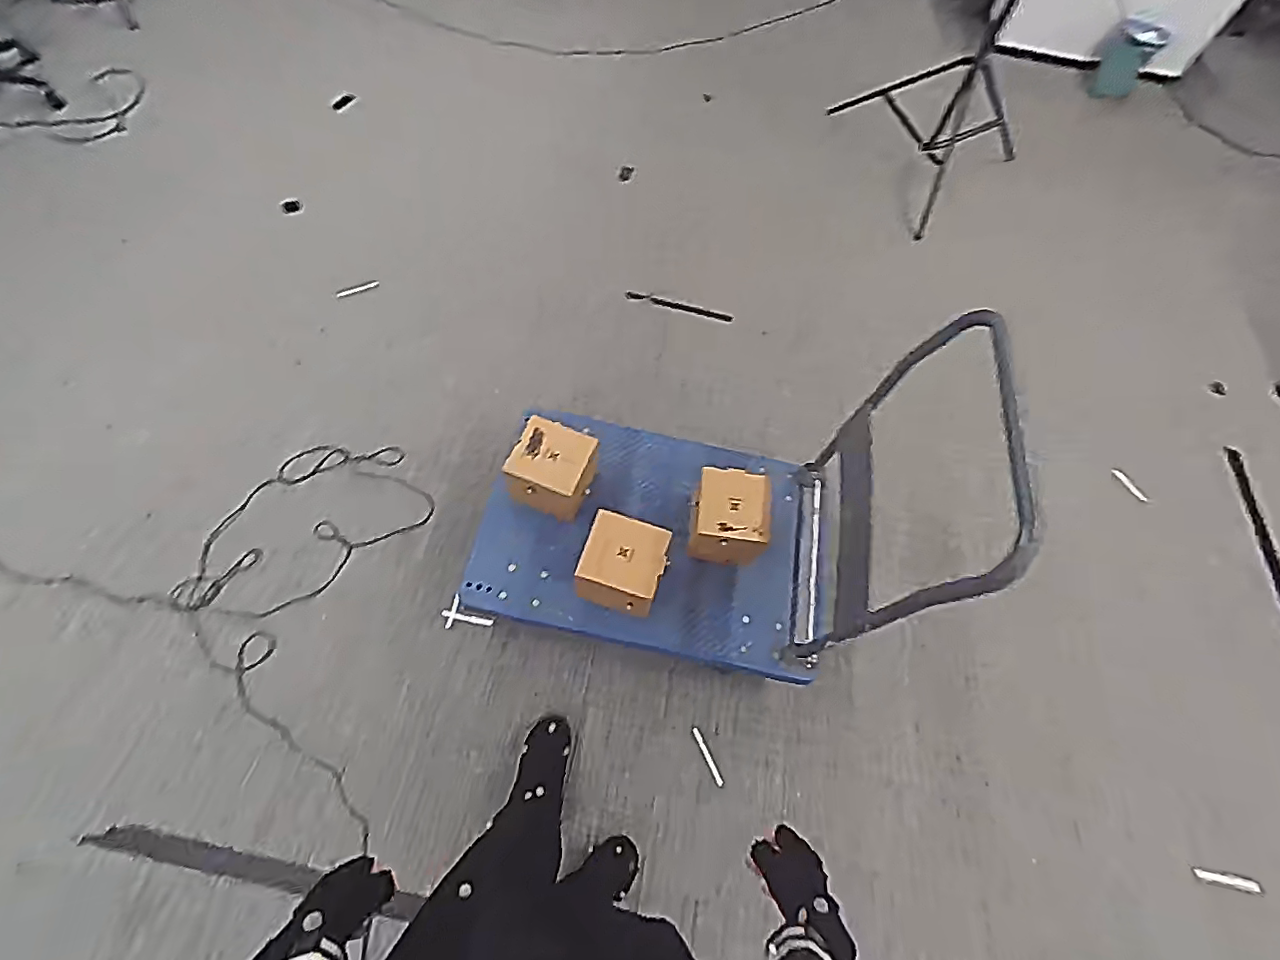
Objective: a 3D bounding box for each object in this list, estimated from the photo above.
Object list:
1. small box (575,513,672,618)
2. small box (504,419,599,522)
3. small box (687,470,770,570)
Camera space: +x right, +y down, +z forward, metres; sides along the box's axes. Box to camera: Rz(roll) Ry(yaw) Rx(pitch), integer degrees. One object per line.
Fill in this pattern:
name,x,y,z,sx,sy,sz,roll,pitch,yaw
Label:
small box,-0.040,0.205,1.249,0.179,0.176,0.168,17,60,5
small box,-0.215,-0.017,1.343,0.179,0.176,0.168,22,63,4
small box,0.214,0.102,1.328,0.168,0.176,0.179,9,61,-1
